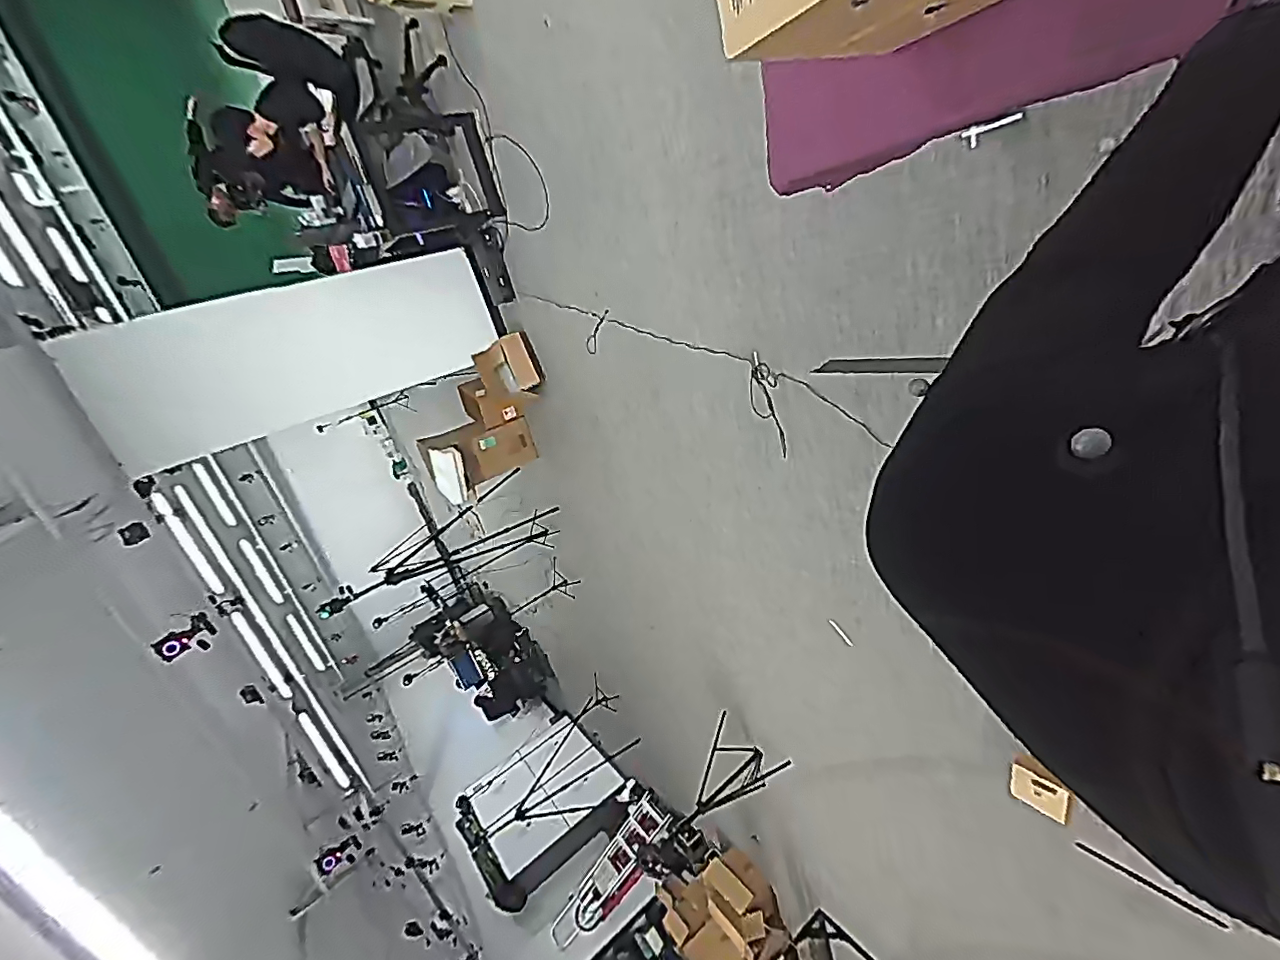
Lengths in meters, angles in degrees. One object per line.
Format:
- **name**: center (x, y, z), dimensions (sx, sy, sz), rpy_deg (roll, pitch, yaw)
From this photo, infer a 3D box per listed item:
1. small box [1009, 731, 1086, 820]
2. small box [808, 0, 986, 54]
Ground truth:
- **small box**: center (1.425, 1.023, 1.890), dimensions (0.168, 0.176, 0.179), rpy_deg (20, 133, 52)
- **small box**: center (0.319, -0.643, 0.642), dimensions (0.179, 0.176, 0.168), rpy_deg (18, 130, 52)
